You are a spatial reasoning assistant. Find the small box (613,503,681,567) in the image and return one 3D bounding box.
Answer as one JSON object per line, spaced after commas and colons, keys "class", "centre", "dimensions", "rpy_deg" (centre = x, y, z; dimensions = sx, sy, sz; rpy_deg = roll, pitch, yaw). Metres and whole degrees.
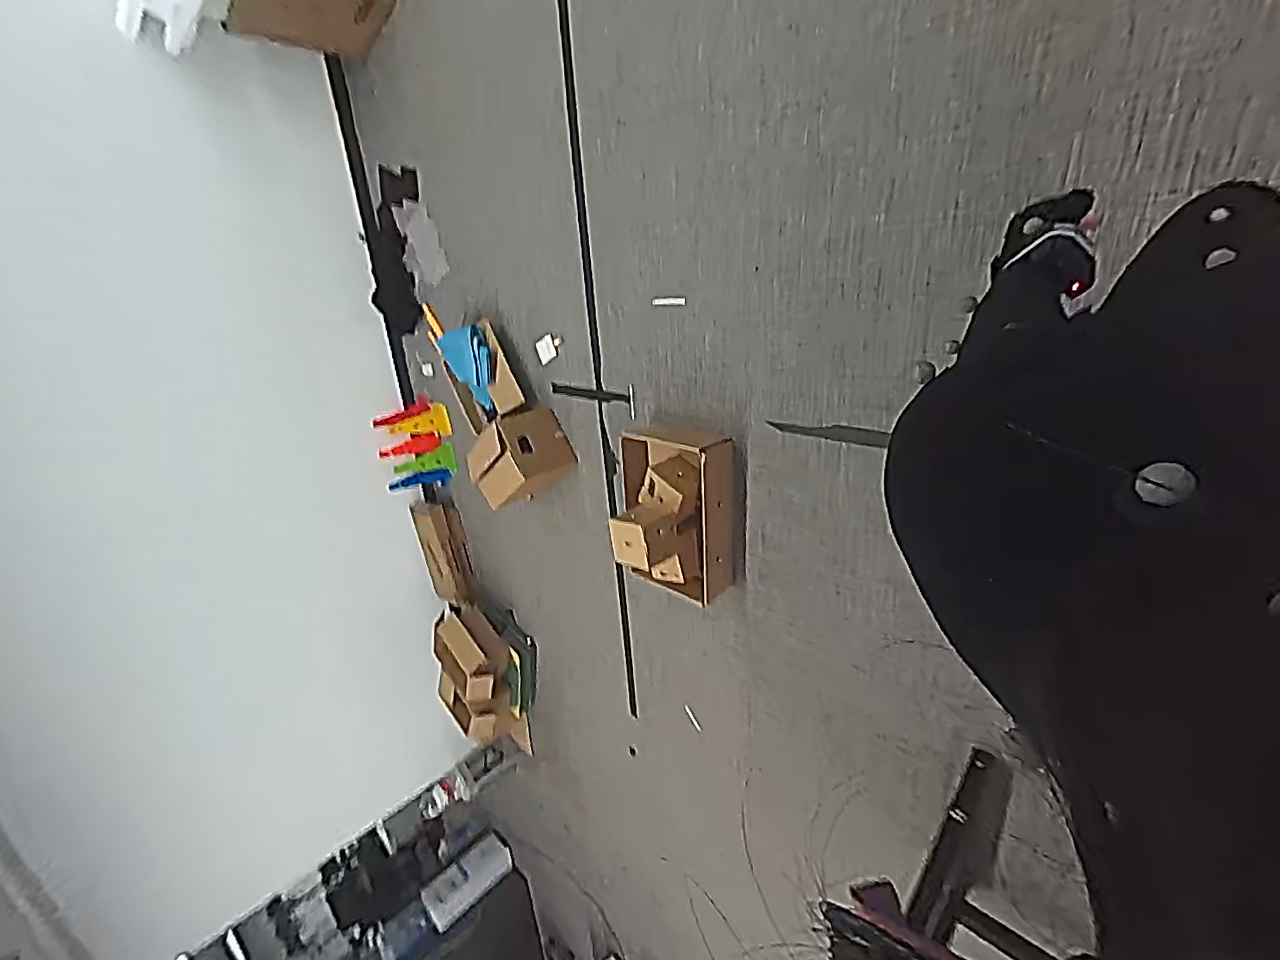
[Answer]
{"class": "small box", "centre": [0.033, 0.191, 1.938], "dimensions": [0.179, 0.176, 0.168], "rpy_deg": [7, 111, 47]}
